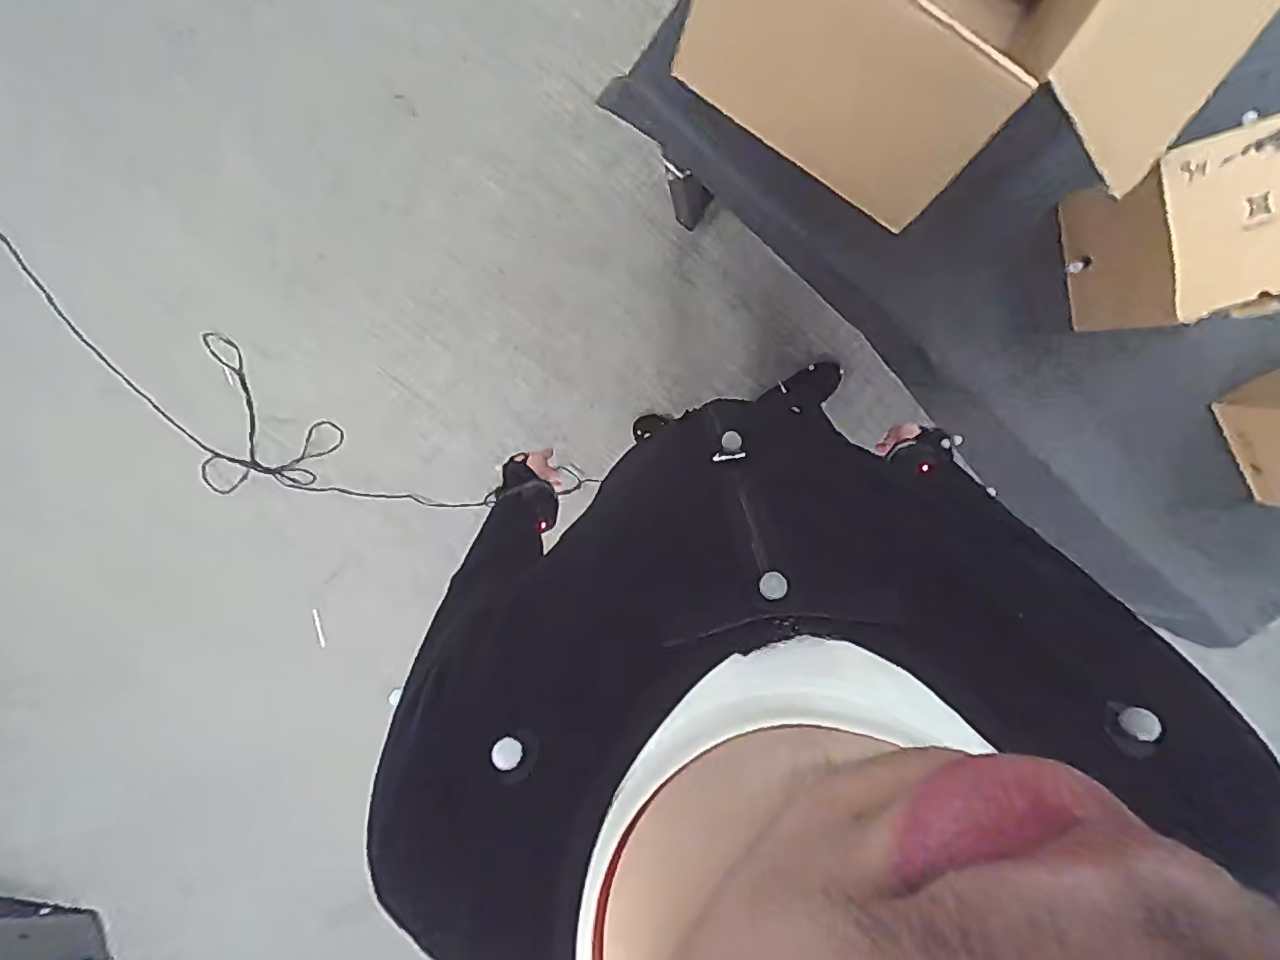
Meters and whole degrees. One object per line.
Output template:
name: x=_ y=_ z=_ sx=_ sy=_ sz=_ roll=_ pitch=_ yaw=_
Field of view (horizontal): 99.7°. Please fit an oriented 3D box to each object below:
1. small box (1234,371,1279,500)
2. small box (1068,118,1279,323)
small box: x=0.885 y=-0.063 z=0.644 sx=0.179 sy=0.176 sz=0.168 roll=-31 pitch=98 yaw=12
small box: x=0.643 y=-0.289 z=0.627 sx=0.168 sy=0.176 sz=0.179 roll=-14 pitch=101 yaw=11
